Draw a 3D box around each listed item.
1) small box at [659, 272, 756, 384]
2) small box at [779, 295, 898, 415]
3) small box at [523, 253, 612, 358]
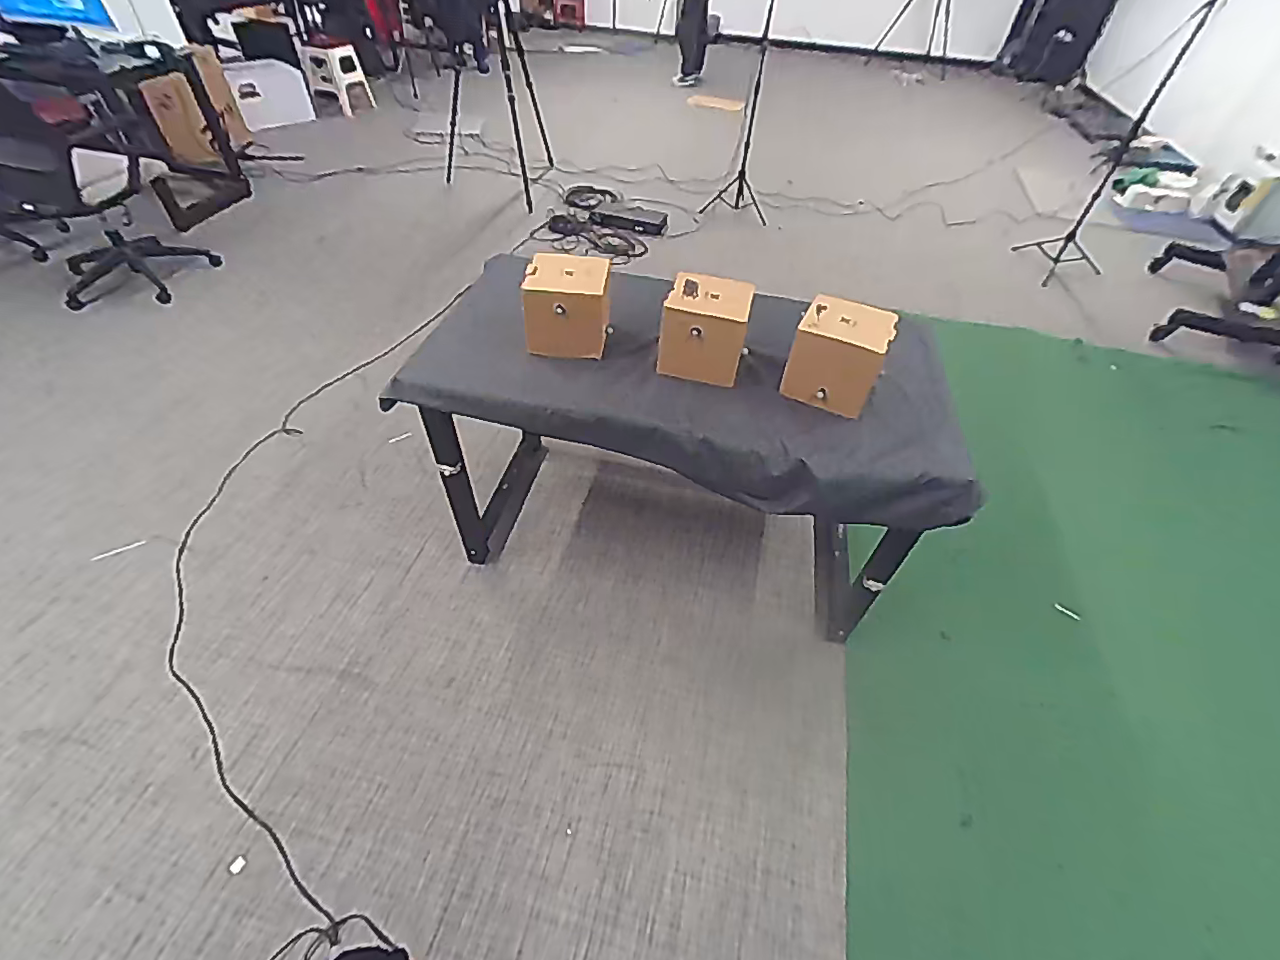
[{"bbox_3d":[0.147,-0.336,1.208,0.179,0.176,0.168,14,48,7],"label":"small box"},{"bbox_3d":[0.422,-0.265,1.164,0.179,0.176,0.168,23,50,16],"label":"small box"},{"bbox_3d":[-0.161,-0.400,1.245,0.179,0.176,0.168,6,49,-1],"label":"small box"}]
